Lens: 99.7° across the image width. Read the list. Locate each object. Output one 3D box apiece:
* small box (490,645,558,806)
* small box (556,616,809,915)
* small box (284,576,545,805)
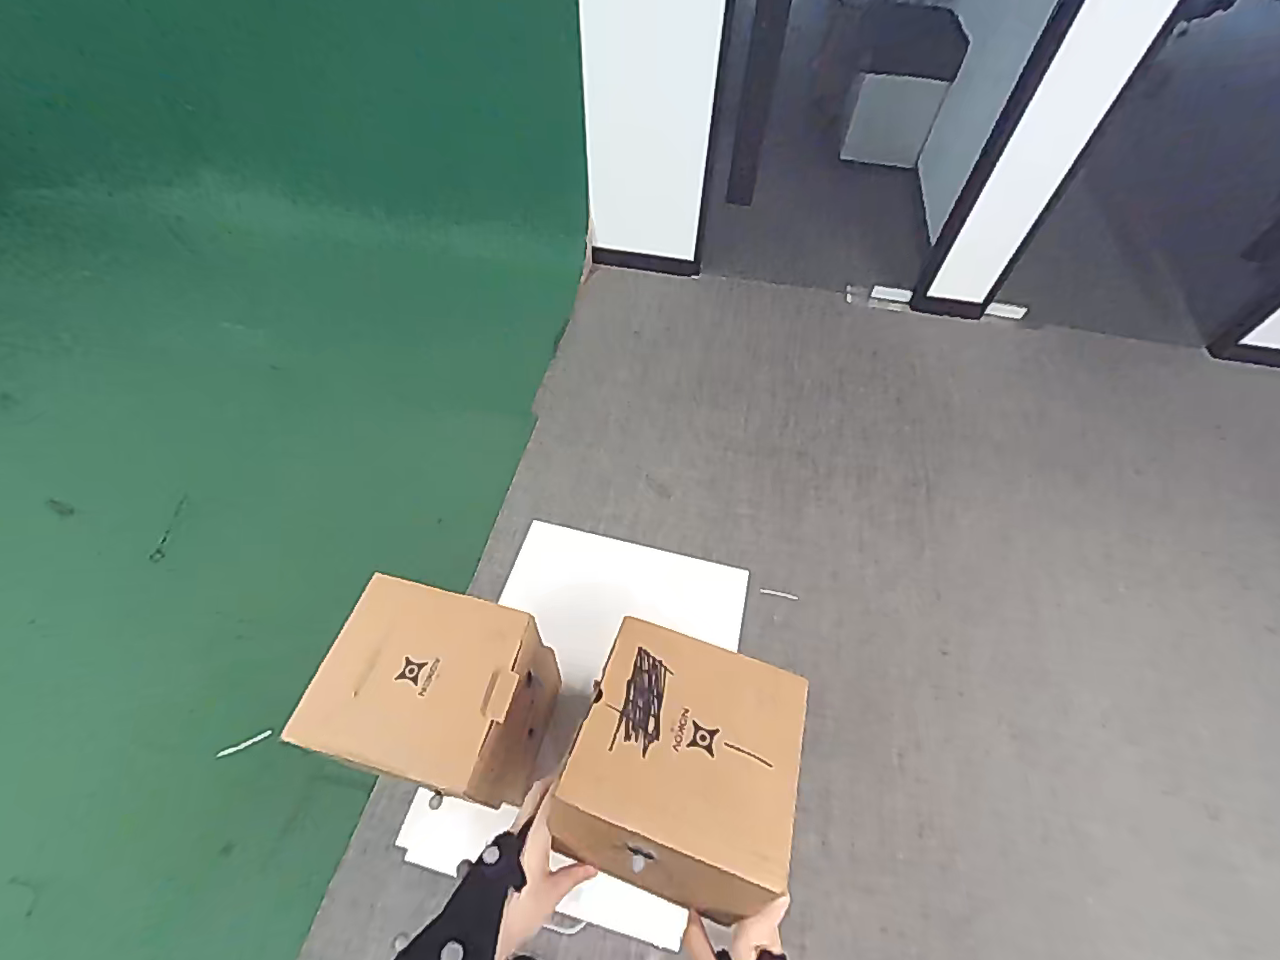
[{"bbox_3d":[-0.213,0.308,0.711,0.168,0.176,0.179,14,56,6],"label":"small box"},{"bbox_3d":[0.034,0.261,0.493,0.179,0.176,0.168,19,45,8],"label":"small box"},{"bbox_3d":[-0.210,0.227,0.569,0.179,0.176,0.168,12,54,6],"label":"small box"}]
